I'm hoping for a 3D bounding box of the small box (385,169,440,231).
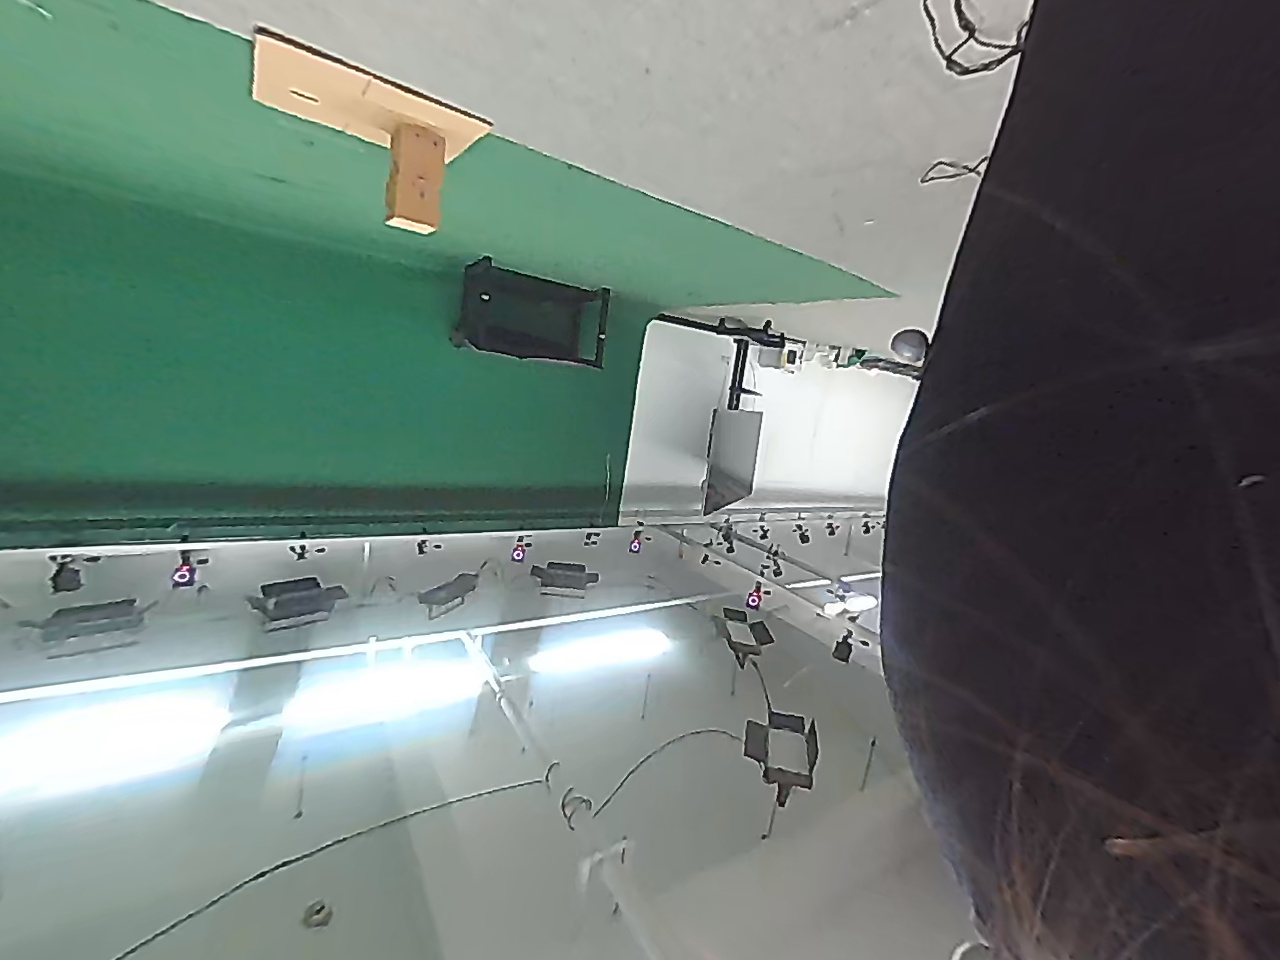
[{"bbox_3d":[-0.910,-1.118,2.164,0.168,0.176,0.179,0,-167,-39],"label":"small box"}]

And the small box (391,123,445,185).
[{"bbox_3d":[-0.875,-1.273,2.129,0.168,0.176,0.179,0,-166,-37],"label":"small box"}]
